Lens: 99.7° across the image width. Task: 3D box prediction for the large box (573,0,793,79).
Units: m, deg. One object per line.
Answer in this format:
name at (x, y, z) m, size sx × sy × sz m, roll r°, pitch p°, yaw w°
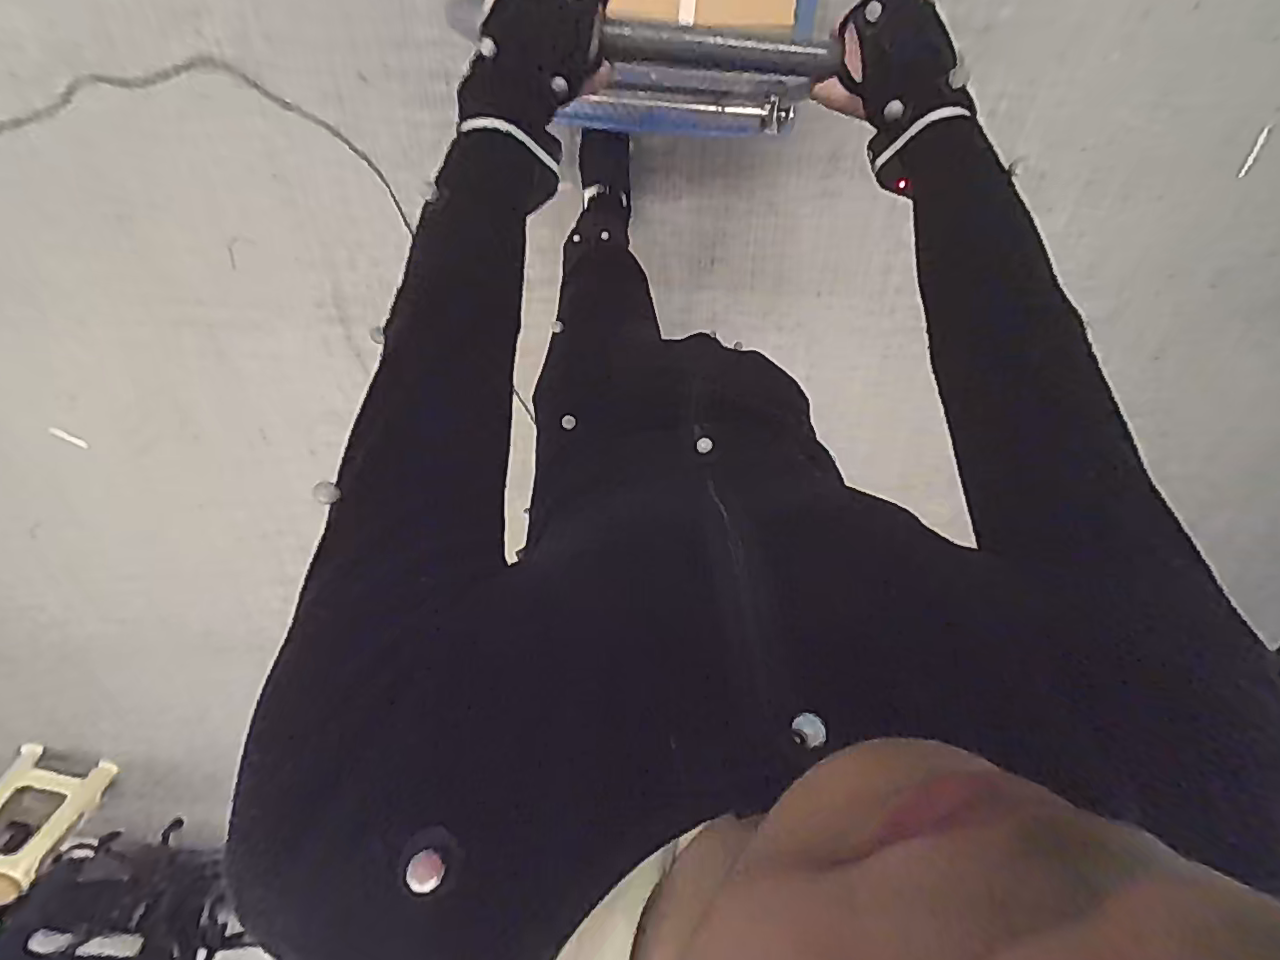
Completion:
large box at (0.063, -0.867, 0.811) m, size 0.320 × 0.320 × 0.408 m, roll 1°, pitch 122°, yaw -5°
